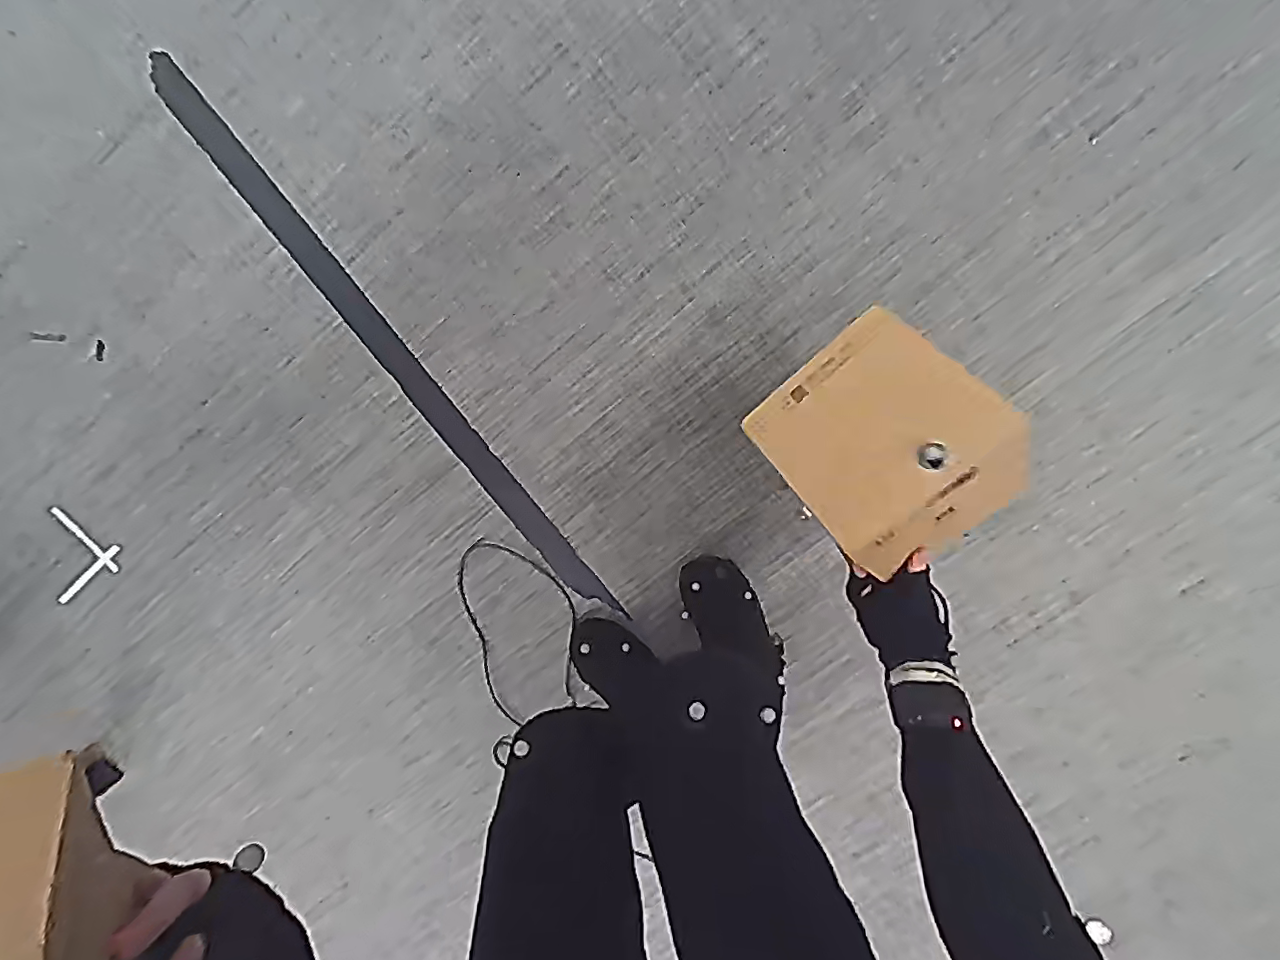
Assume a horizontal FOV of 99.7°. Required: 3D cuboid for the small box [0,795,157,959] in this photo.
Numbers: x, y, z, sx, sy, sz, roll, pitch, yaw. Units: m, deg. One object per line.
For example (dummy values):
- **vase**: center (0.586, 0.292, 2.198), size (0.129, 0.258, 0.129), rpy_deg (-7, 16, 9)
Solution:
- **small box**: center (-0.265, 0.225, 0.145), size (0.179, 0.168, 0.176), rpy_deg (-8, 123, -36)
